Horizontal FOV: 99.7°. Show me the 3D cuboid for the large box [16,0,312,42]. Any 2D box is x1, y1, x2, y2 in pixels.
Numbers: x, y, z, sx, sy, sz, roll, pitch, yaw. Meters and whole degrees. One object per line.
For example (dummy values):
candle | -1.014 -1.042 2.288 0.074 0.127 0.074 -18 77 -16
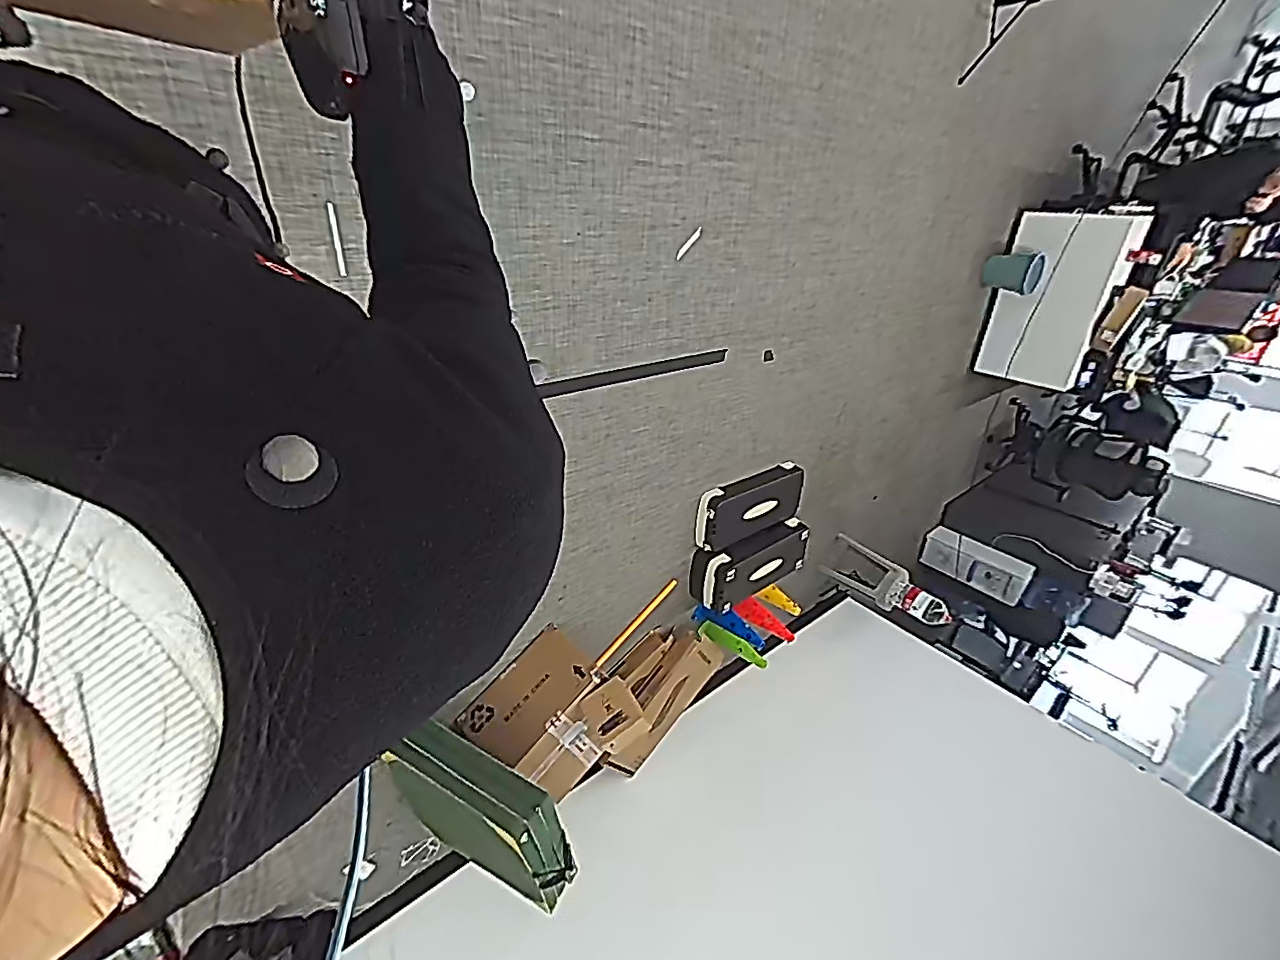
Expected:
large box | -0.448 -0.465 0.262 0.408 0.320 0.320 -18 128 -40
